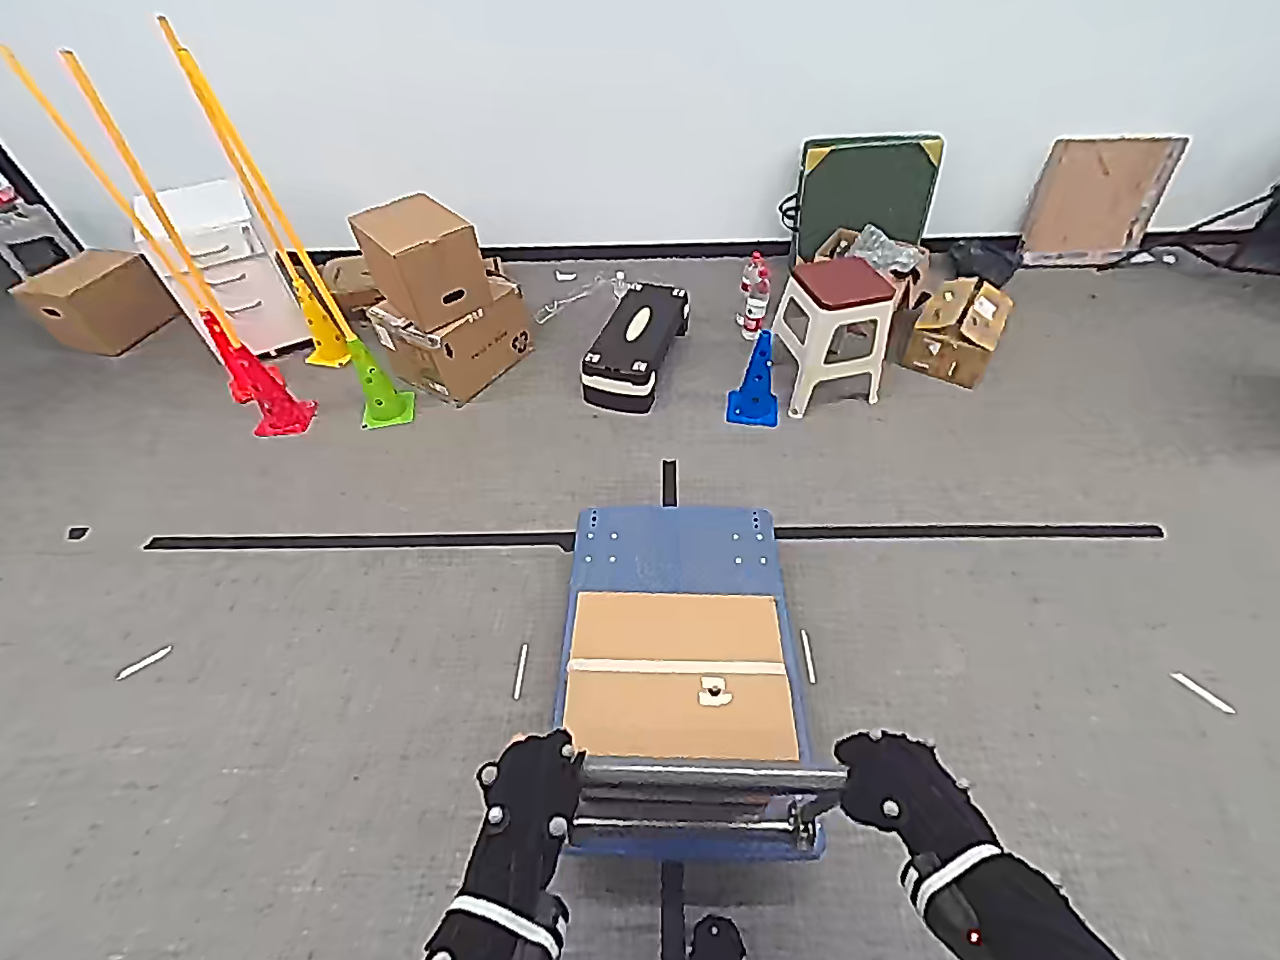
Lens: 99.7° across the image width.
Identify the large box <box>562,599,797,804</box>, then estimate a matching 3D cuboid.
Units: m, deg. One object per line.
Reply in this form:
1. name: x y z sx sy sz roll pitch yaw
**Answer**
1. large box: 0.066 0.457 1.111 0.408 0.320 0.320 1 49 1
